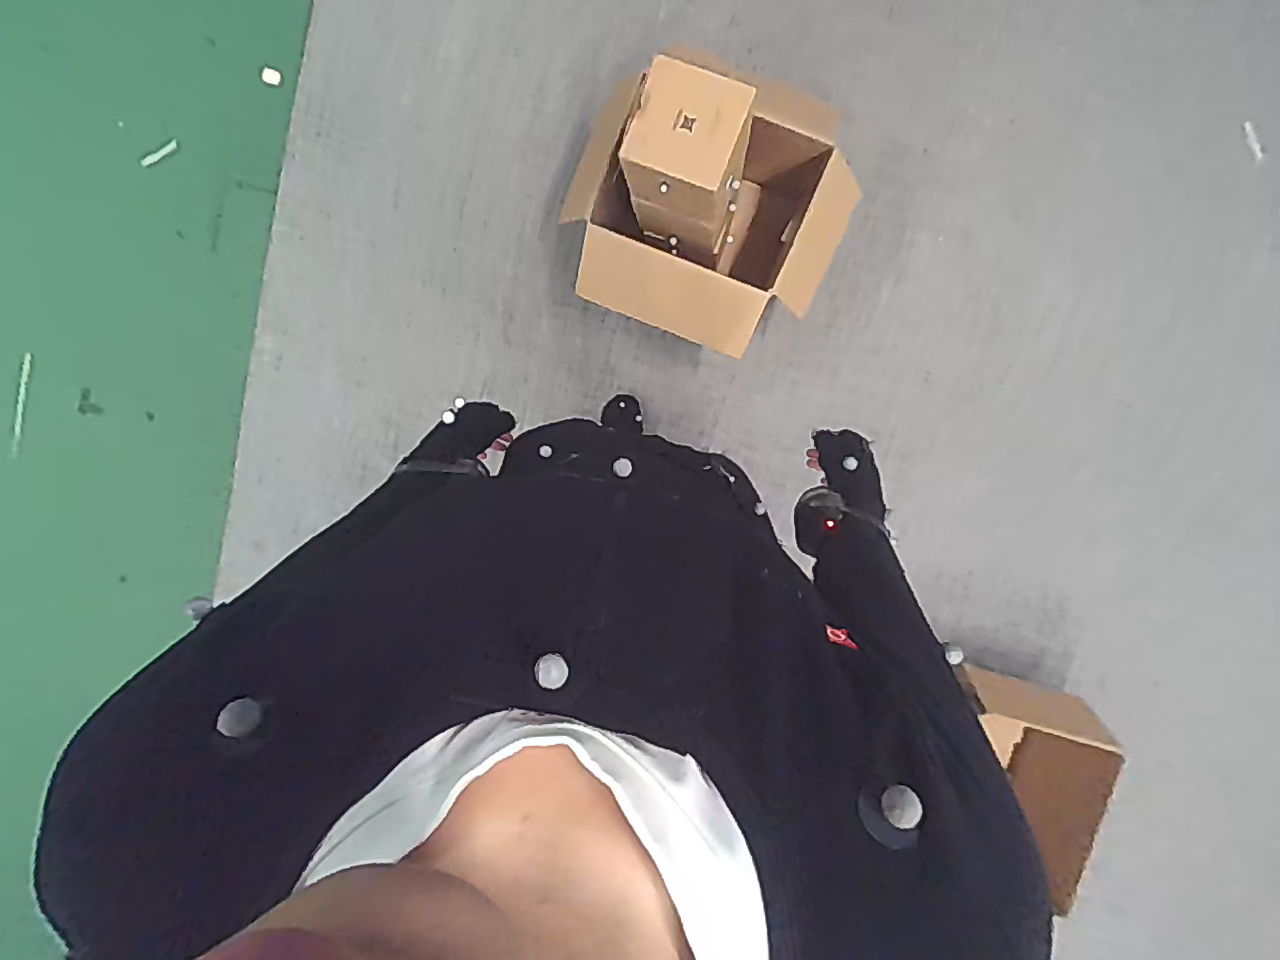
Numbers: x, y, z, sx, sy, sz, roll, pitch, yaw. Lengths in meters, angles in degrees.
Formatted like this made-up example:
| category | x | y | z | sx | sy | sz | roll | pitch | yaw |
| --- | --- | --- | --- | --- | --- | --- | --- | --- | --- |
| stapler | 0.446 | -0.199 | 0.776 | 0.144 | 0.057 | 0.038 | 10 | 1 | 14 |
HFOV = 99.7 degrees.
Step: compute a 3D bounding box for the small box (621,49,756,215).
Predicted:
| category | x | y | z | sx | sy | sz | roll | pitch | yaw |
| --- | --- | --- | --- | --- | --- | --- | --- | --- | --- |
| small box | 0.085 | -0.593 | 0.946 | 0.179 | 0.176 | 0.168 | 21 | 100 | 3 |
